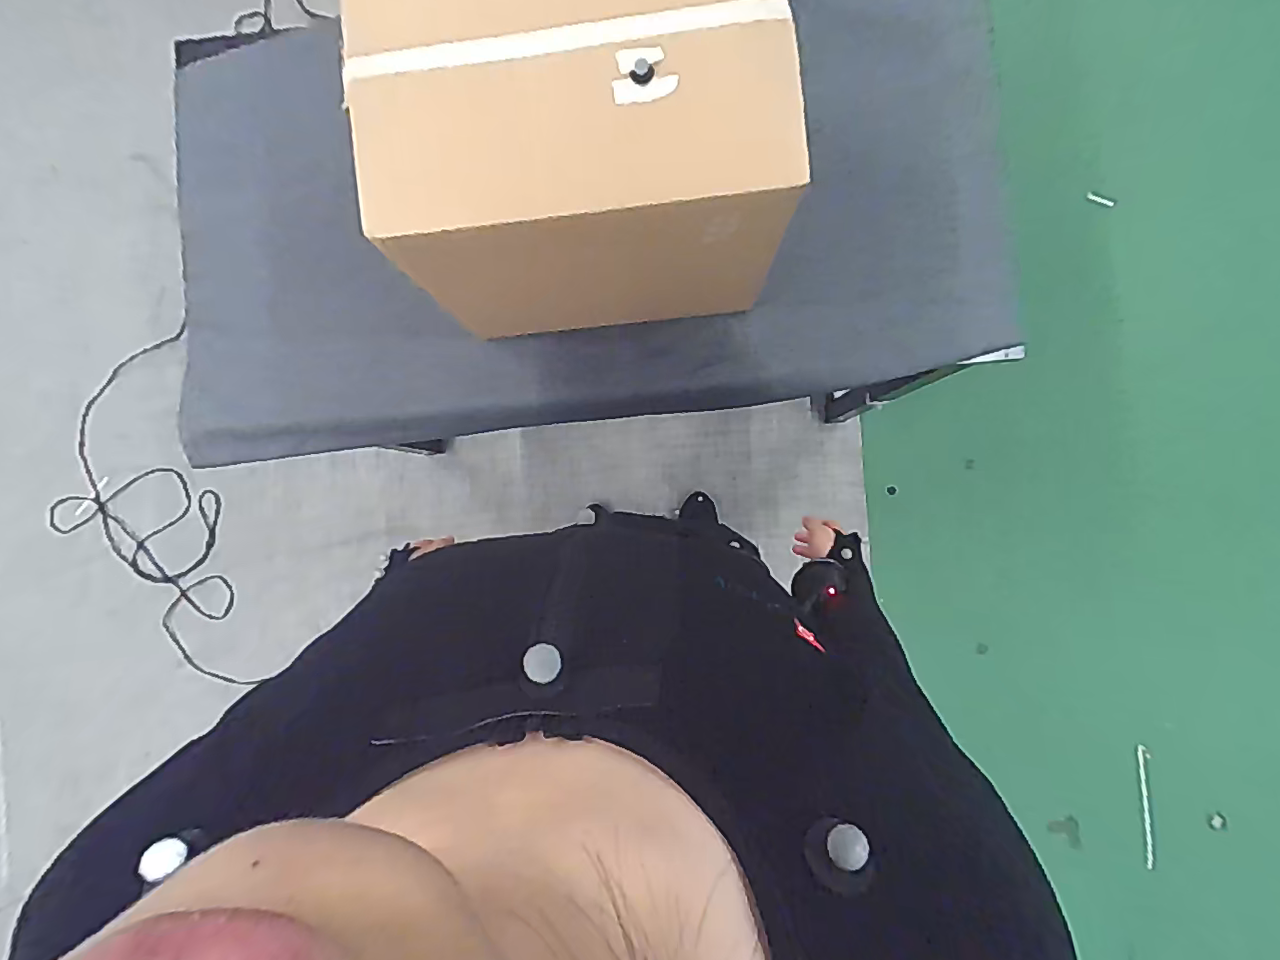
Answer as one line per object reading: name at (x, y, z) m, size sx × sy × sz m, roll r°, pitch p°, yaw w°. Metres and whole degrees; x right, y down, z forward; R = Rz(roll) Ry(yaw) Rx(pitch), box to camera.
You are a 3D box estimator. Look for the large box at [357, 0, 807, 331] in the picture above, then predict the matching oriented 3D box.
large box at (-0.057, -0.396, 0.648) m, size 0.408 × 0.320 × 0.320 m, roll -6°, pitch 89°, yaw 2°
